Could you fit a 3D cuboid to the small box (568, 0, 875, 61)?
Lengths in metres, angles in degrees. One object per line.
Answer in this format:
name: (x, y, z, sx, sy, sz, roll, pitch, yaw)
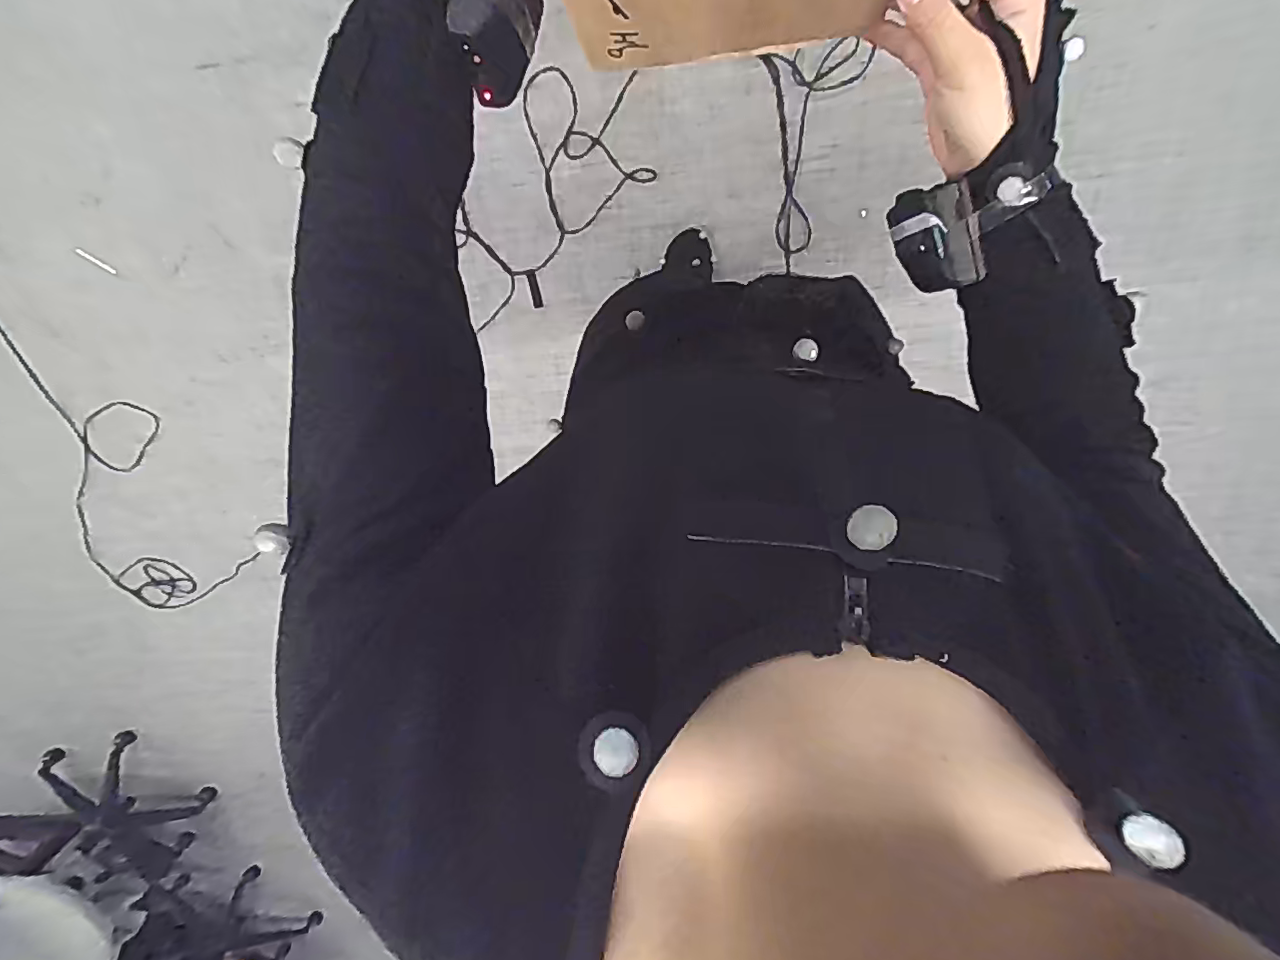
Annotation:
small box: (0.037, -0.336, 0.240, 0.179, 0.168, 0.176, -3, 101, 7)
